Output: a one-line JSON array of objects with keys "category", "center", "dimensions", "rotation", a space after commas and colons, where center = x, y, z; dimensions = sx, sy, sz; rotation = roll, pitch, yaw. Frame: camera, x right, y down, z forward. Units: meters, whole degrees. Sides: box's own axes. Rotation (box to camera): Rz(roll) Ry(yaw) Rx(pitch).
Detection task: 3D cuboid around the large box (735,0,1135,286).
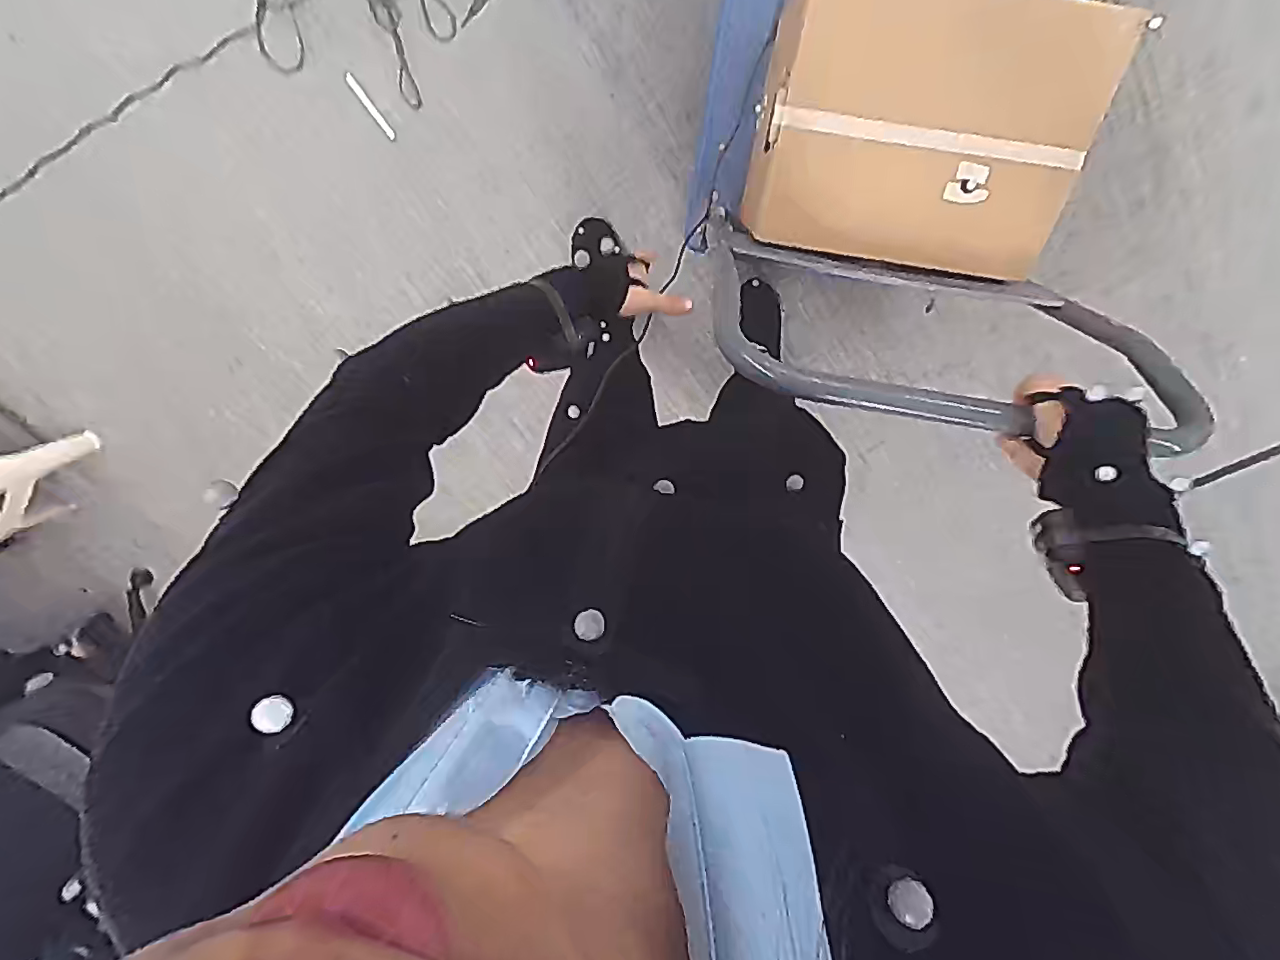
[{"category": "large box", "center": [0.385, -0.513, 0.845], "dimensions": [0.408, 0.320, 0.320], "rotation": [8, 121, -1]}]
